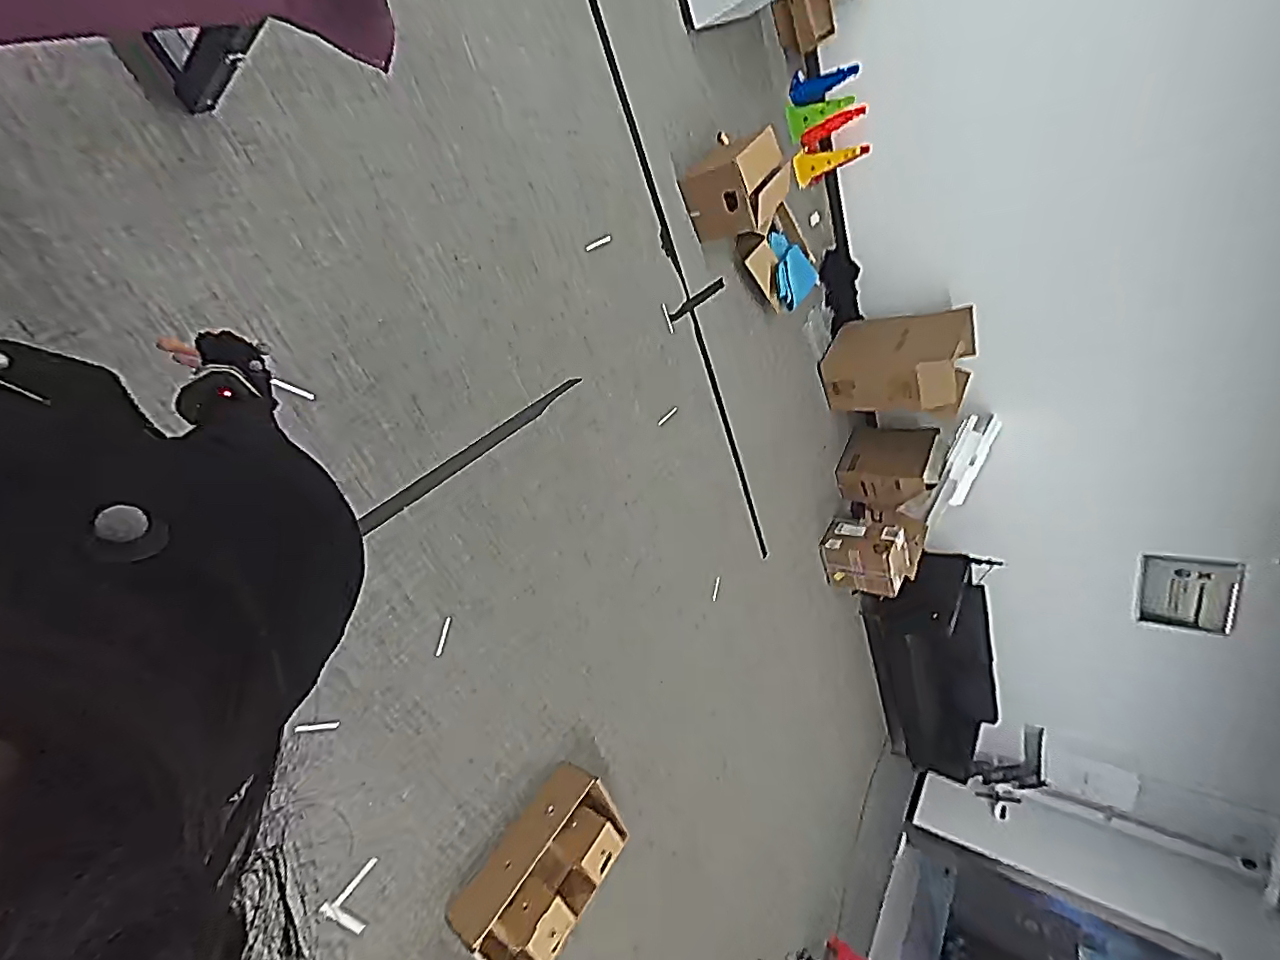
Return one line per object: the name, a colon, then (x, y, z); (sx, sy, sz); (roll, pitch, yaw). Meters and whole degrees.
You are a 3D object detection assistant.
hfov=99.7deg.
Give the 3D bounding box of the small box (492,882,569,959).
small box: (-0.385, 1.553, 1.890); (0.168, 0.176, 0.179); (-44, 123, -42)
